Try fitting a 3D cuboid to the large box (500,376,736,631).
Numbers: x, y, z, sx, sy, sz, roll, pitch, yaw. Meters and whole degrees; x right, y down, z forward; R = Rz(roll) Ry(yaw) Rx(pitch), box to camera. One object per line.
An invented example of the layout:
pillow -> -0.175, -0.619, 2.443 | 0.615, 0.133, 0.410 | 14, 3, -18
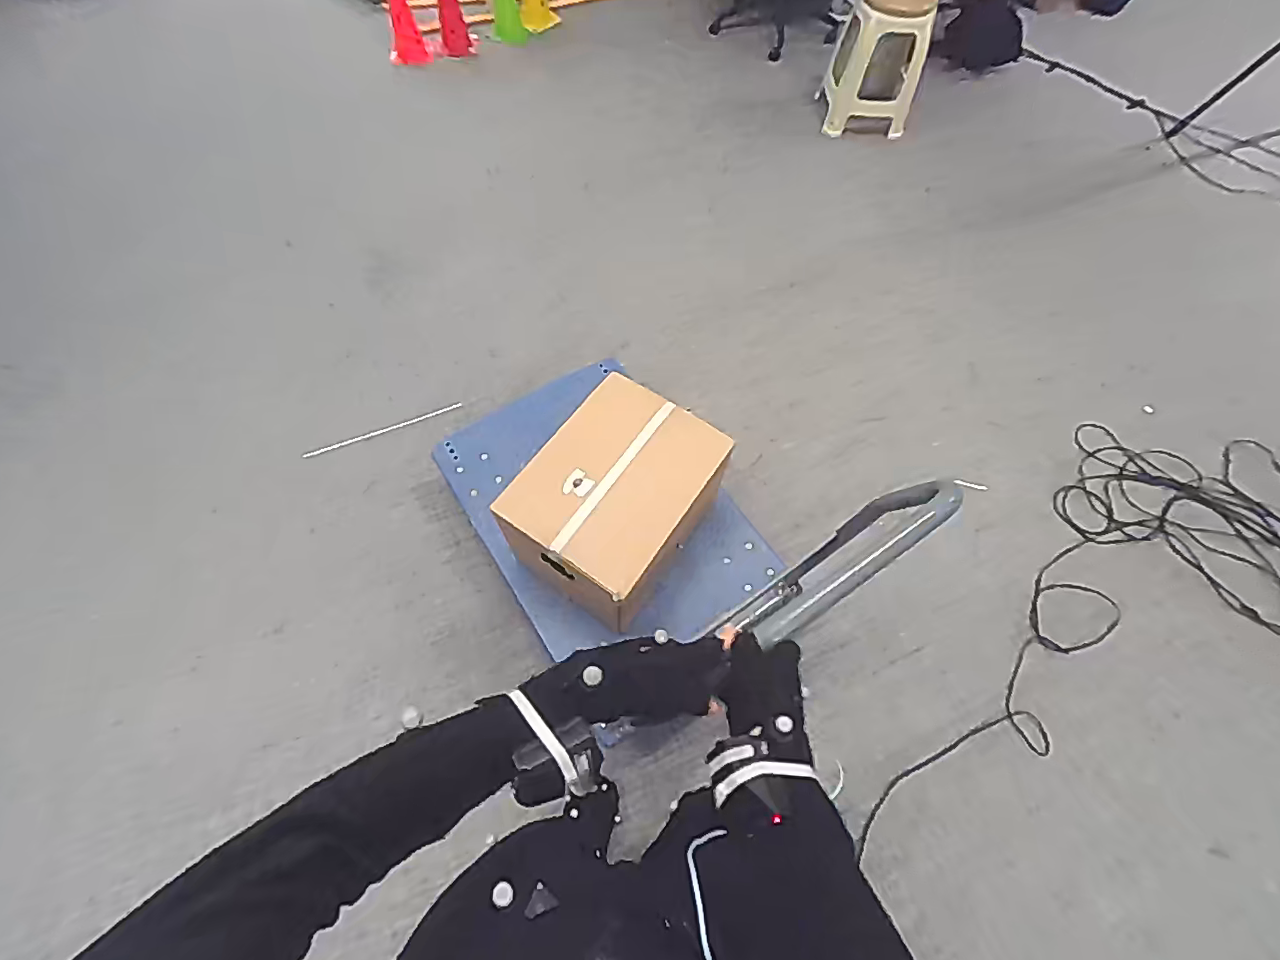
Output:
large box -> -0.038, 0.059, 1.199 | 0.320, 0.320, 0.408 | 32, 67, 14
